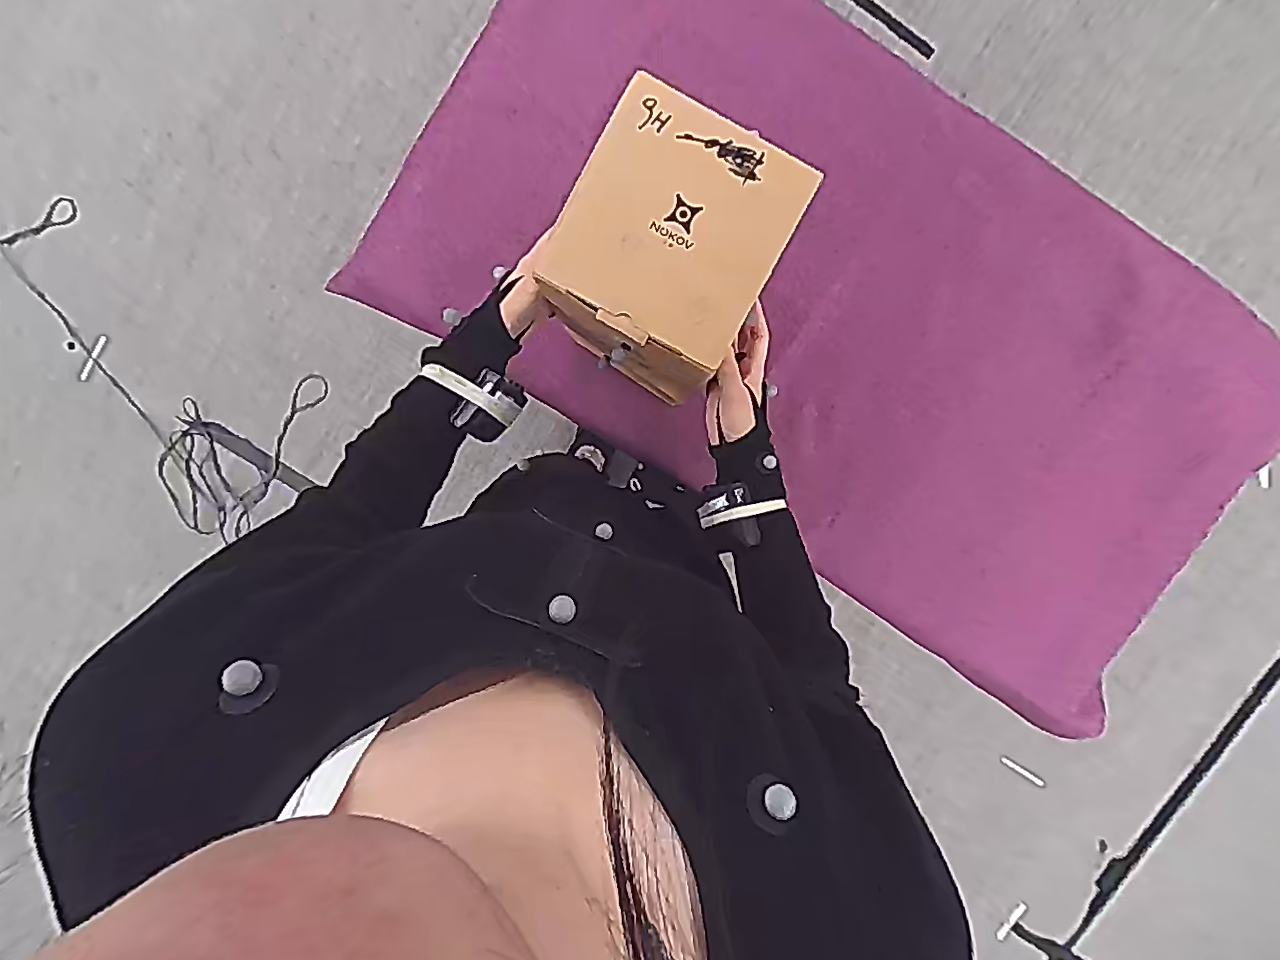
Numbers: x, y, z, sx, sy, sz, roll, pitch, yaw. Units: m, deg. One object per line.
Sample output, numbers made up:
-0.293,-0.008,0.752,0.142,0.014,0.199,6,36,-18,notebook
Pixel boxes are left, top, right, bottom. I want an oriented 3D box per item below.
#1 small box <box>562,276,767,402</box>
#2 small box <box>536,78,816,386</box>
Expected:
0.027,-0.210,0.671,0.168,0.176,0.179,33,94,-4,small box
0.029,-0.203,0.503,0.168,0.176,0.179,29,94,-2,small box
